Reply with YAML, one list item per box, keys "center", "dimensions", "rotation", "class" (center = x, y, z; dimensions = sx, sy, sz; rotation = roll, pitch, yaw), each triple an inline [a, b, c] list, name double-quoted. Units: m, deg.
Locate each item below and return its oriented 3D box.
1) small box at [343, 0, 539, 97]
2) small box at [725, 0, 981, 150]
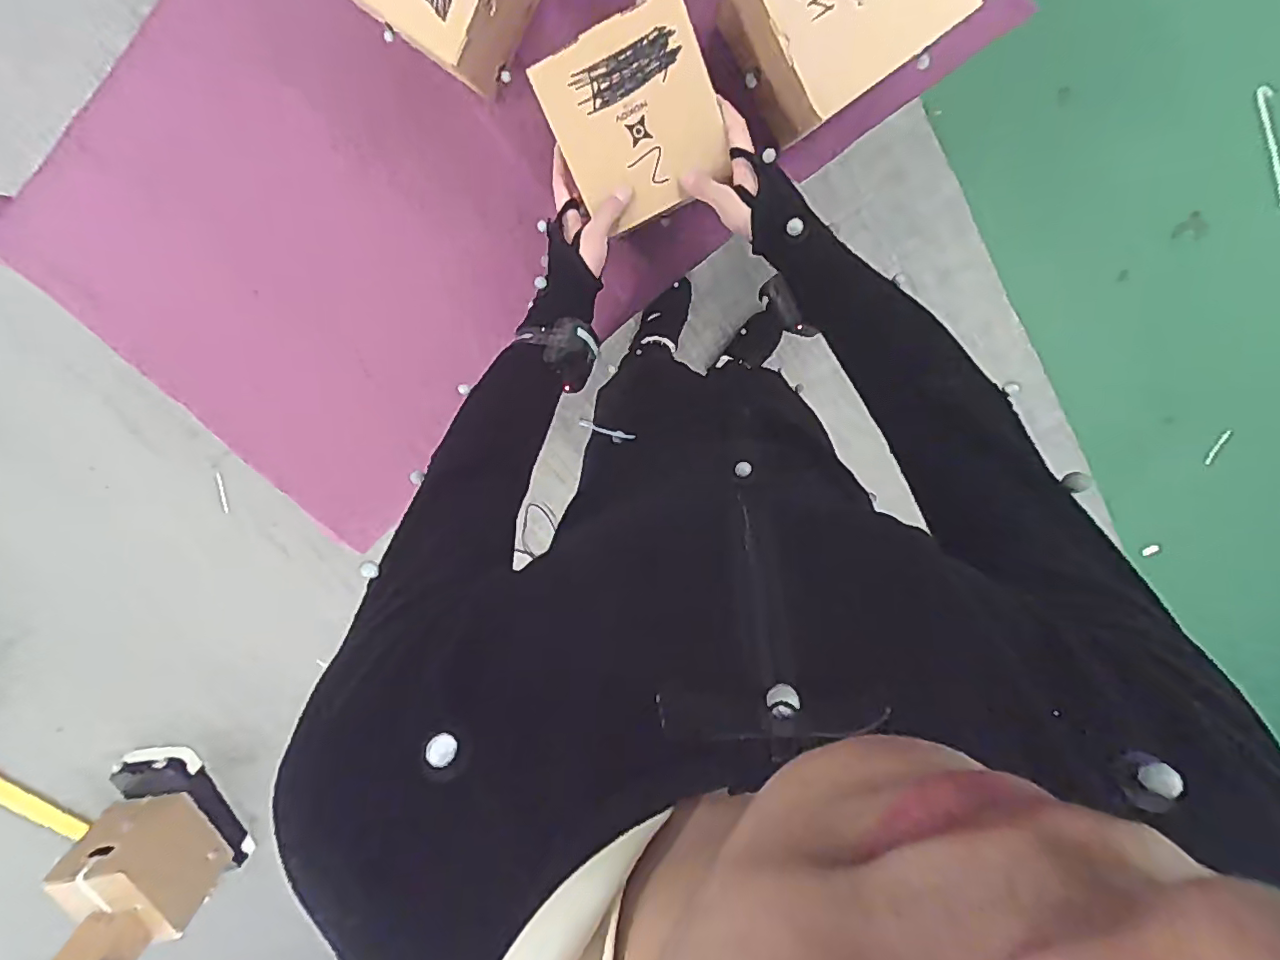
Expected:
- center: [-0.212, -0.537, 0.561]
  dimensions: [0.179, 0.176, 0.168]
  rotation: [30, 111, -13]
  class: "small box"
- center: [0.209, -0.492, 0.576]
  dimensions: [0.179, 0.176, 0.168]
  rotation: [-31, 109, 14]
  class: "small box"
